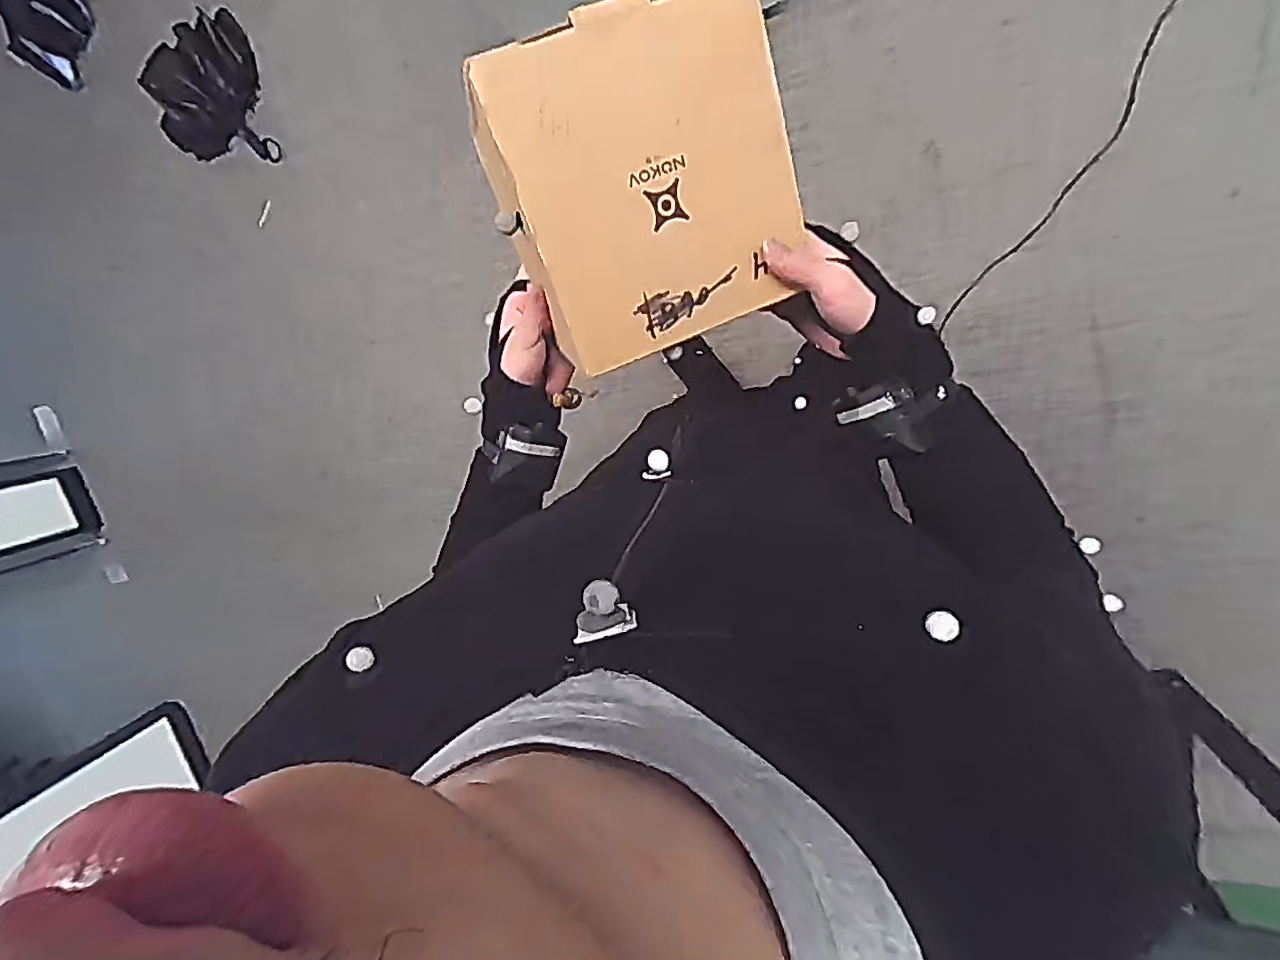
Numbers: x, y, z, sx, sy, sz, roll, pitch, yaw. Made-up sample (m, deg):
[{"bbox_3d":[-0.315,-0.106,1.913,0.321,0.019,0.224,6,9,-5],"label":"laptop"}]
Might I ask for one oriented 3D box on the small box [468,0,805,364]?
[{"bbox_3d":[-0.010,-0.204,0.391,0.168,0.176,0.179,-23,115,-5],"label":"small box"}]
